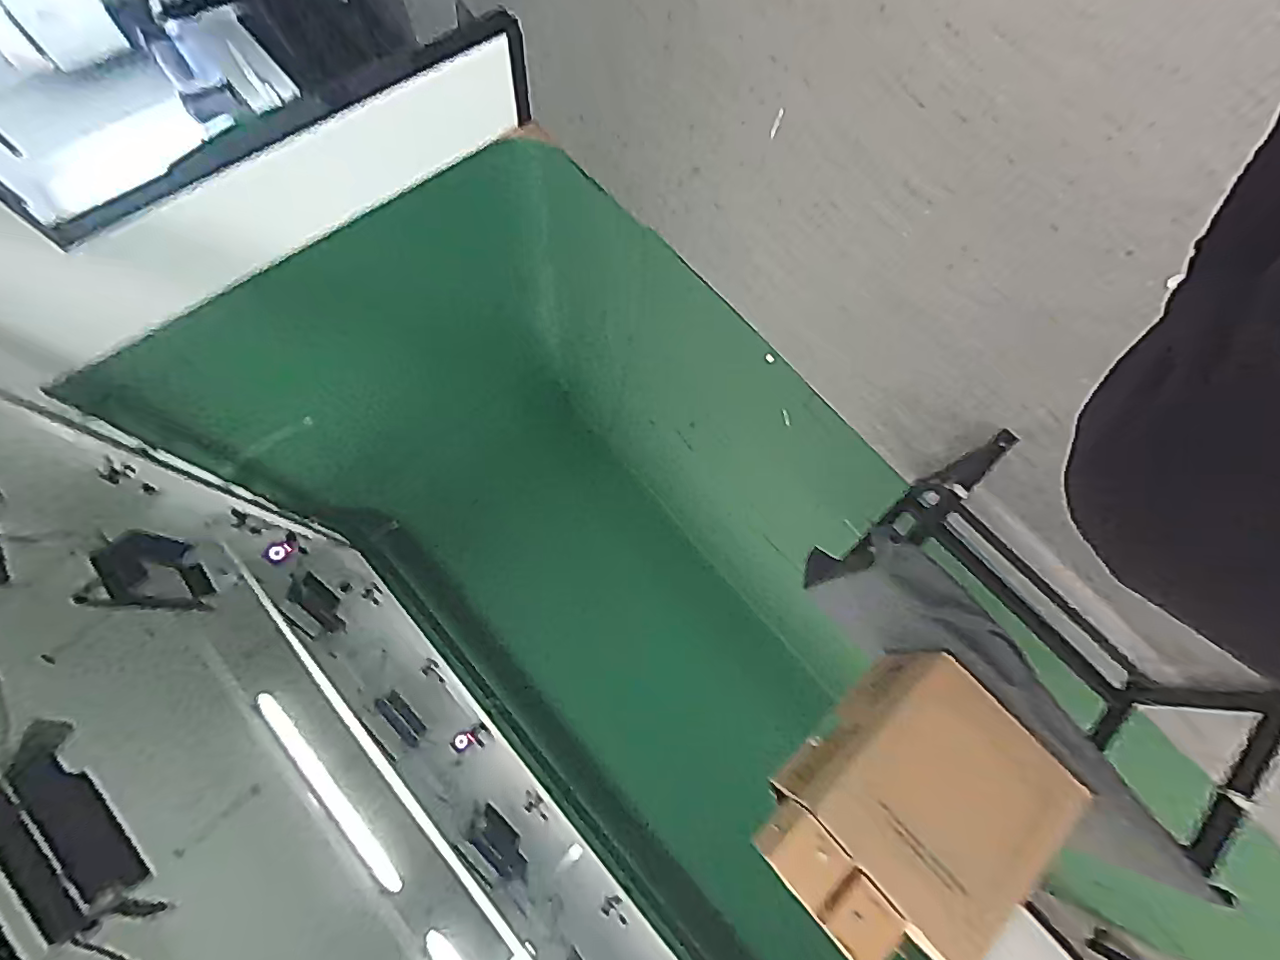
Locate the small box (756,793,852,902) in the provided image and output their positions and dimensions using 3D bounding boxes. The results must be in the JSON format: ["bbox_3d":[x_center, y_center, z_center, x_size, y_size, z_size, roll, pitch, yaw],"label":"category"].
[{"bbox_3d":[0.463,1.025,1.528,0.168,0.176,0.179,48,164,12],"label":"small box"}]
